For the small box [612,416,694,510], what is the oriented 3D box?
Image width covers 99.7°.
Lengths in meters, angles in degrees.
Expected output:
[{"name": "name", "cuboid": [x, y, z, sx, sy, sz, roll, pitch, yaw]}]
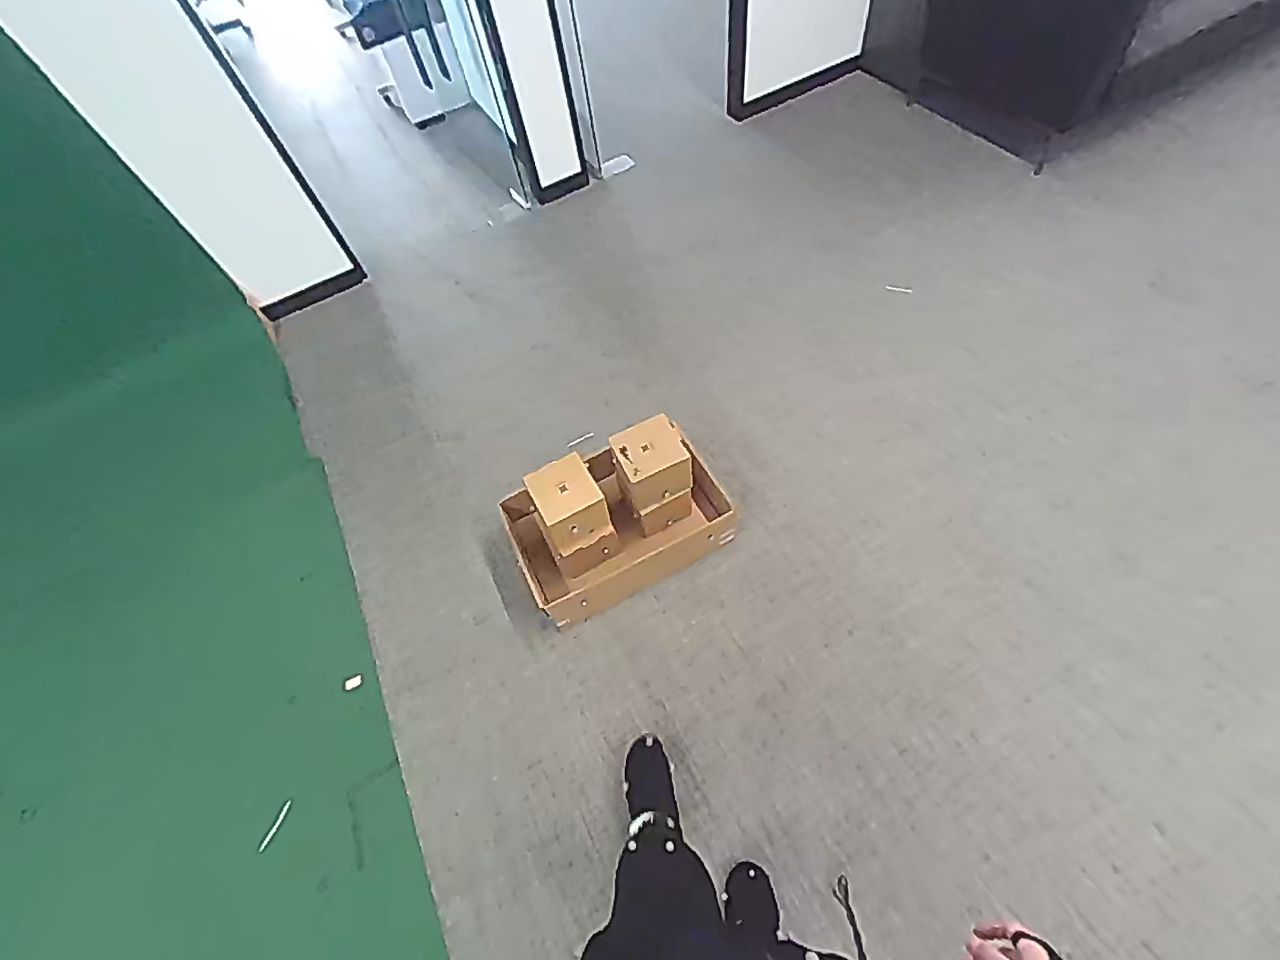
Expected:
[{"name": "small box", "cuboid": [0.038, -0.045, 1.521, 0.179, 0.176, 0.168, -24, 60, -7]}]

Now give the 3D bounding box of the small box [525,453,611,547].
[{"name": "small box", "cuboid": [-0.192, 0.063, 1.491, 0.168, 0.176, 0.179, -27, 59, -11]}]
